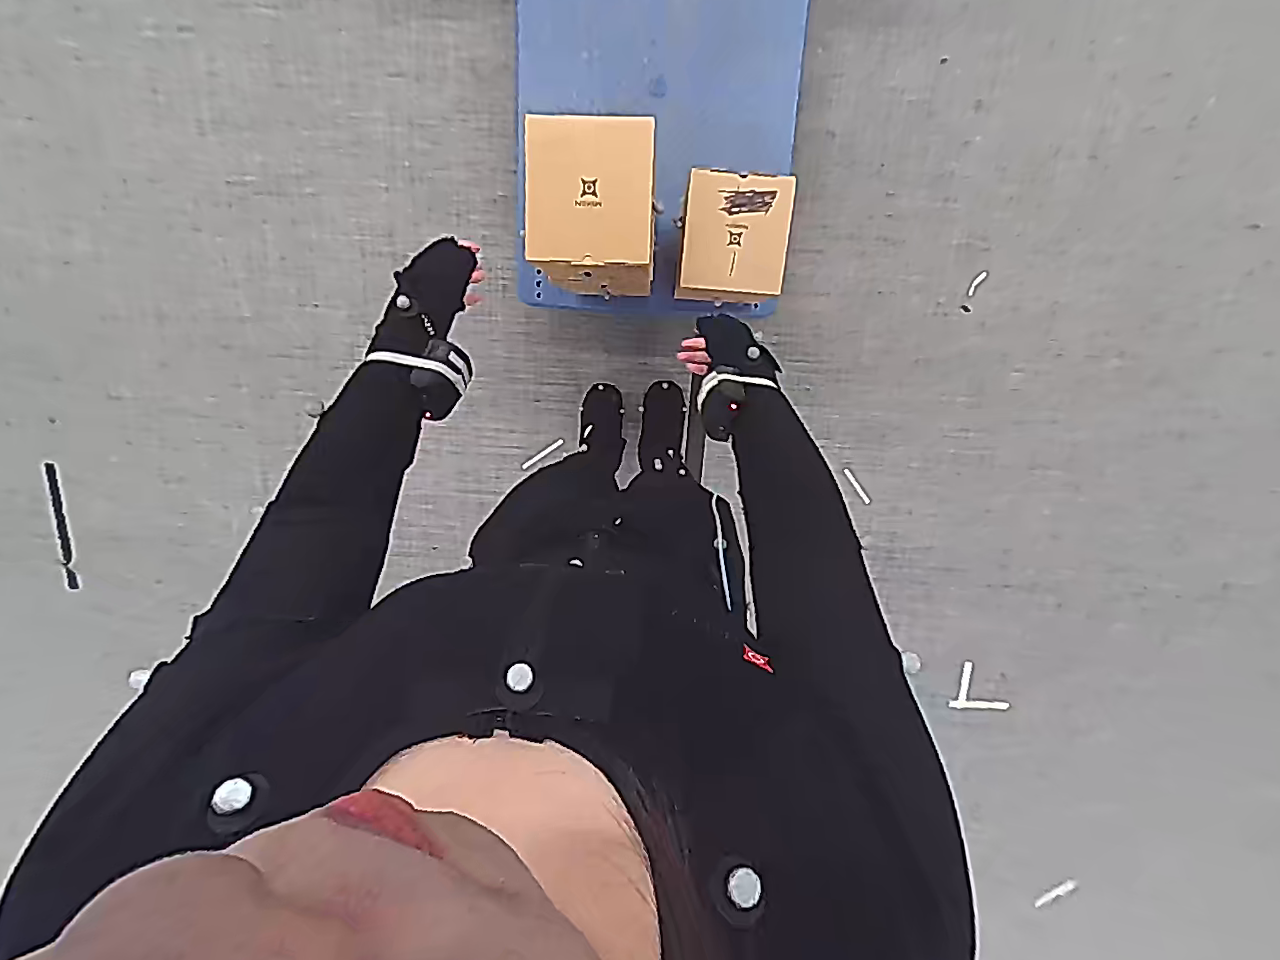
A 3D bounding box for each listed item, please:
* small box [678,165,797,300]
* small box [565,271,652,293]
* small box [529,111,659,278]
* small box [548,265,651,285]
[{"bbox_3d":[0.156,-0.413,0.928,0.168,0.176,0.179,5,105,1],"label":"small box"},{"bbox_3d":[-0.057,-0.476,1.090,0.168,0.176,0.179,2,104,1],"label":"small box"},{"bbox_3d":[-0.061,-0.394,0.773,0.168,0.176,0.179,2,105,1],"label":"small box"},{"bbox_3d":[-0.065,-0.433,0.931,0.168,0.176,0.179,0,106,2],"label":"small box"}]
